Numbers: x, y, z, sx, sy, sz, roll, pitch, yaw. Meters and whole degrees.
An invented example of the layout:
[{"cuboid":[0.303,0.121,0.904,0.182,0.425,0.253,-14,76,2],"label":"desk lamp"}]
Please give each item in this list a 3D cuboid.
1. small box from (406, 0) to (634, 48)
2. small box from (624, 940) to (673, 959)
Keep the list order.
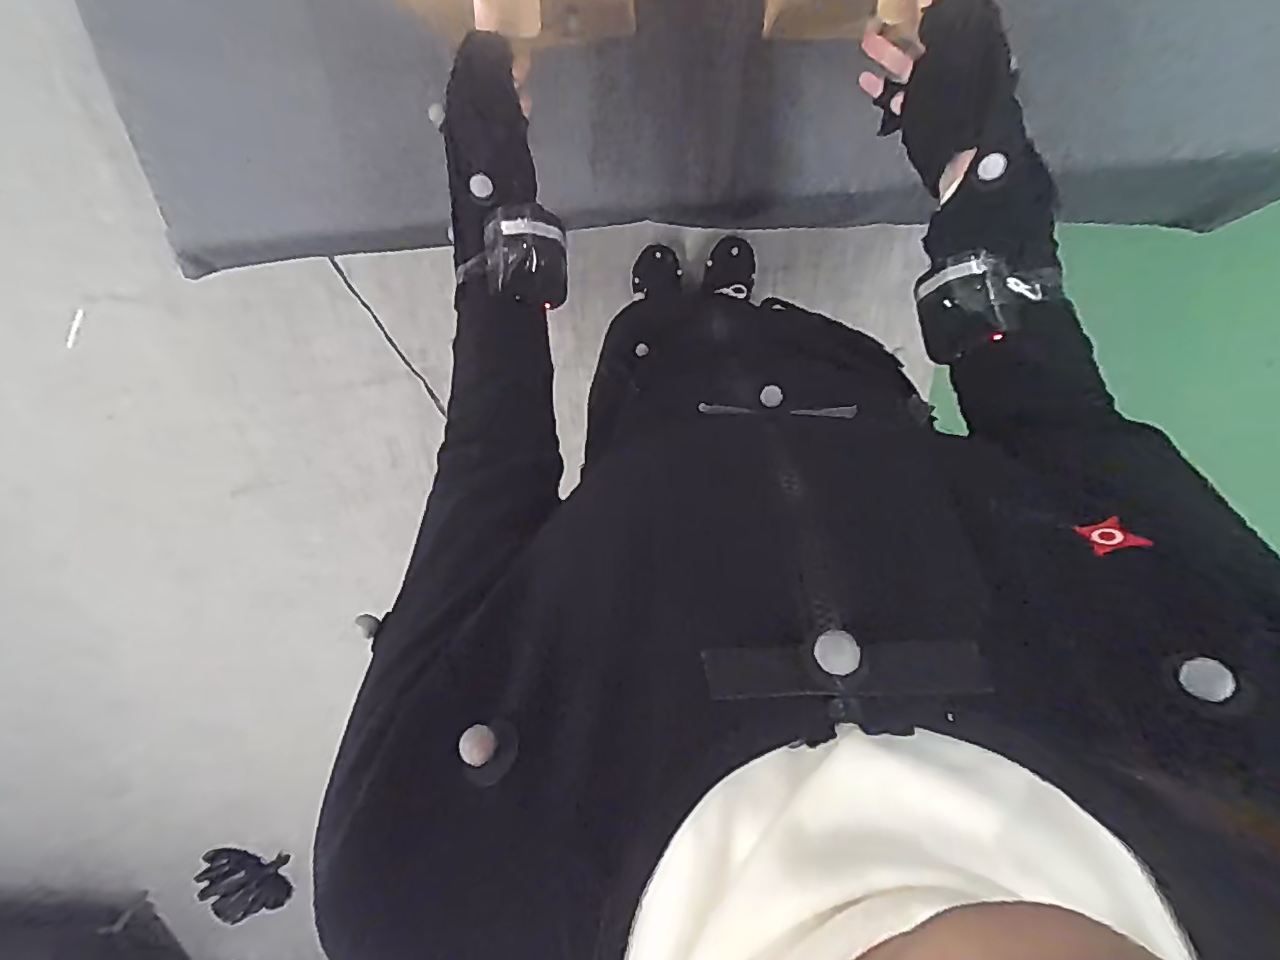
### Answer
[{"cuboid":[-0.096,-0.463,0.416,0.168,0.176,0.179,-4,114,4],"label":"small box"},{"cuboid":[0.025,1.801,1.943,0.179,0.176,0.168,4,112,2],"label":"small box"}]
